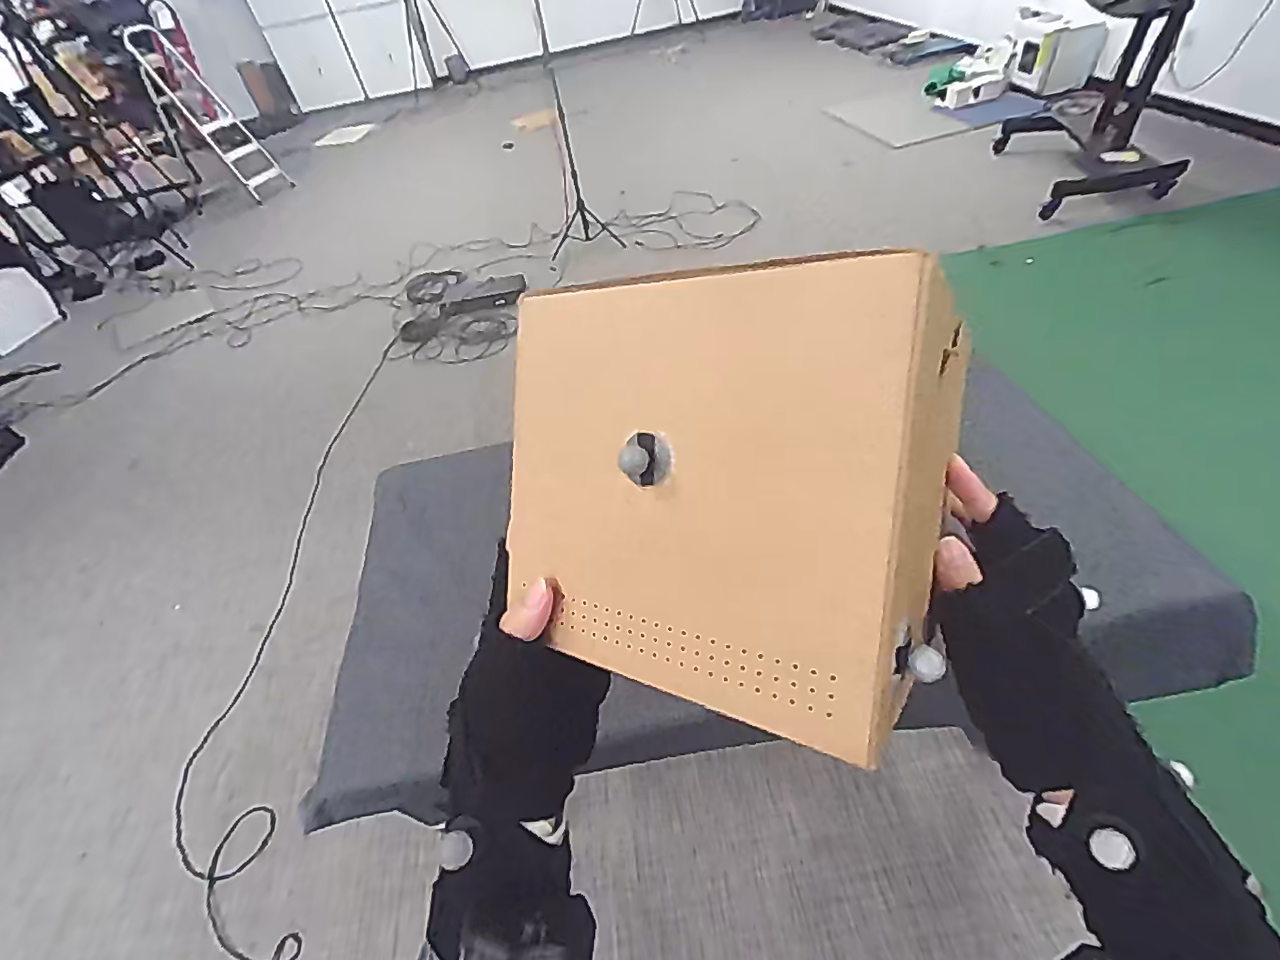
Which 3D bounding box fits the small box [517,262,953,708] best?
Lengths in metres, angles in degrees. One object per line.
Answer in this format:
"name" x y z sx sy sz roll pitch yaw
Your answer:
"small box" 0.053 -0.003 0.293 0.179 0.176 0.168 8 7 33
